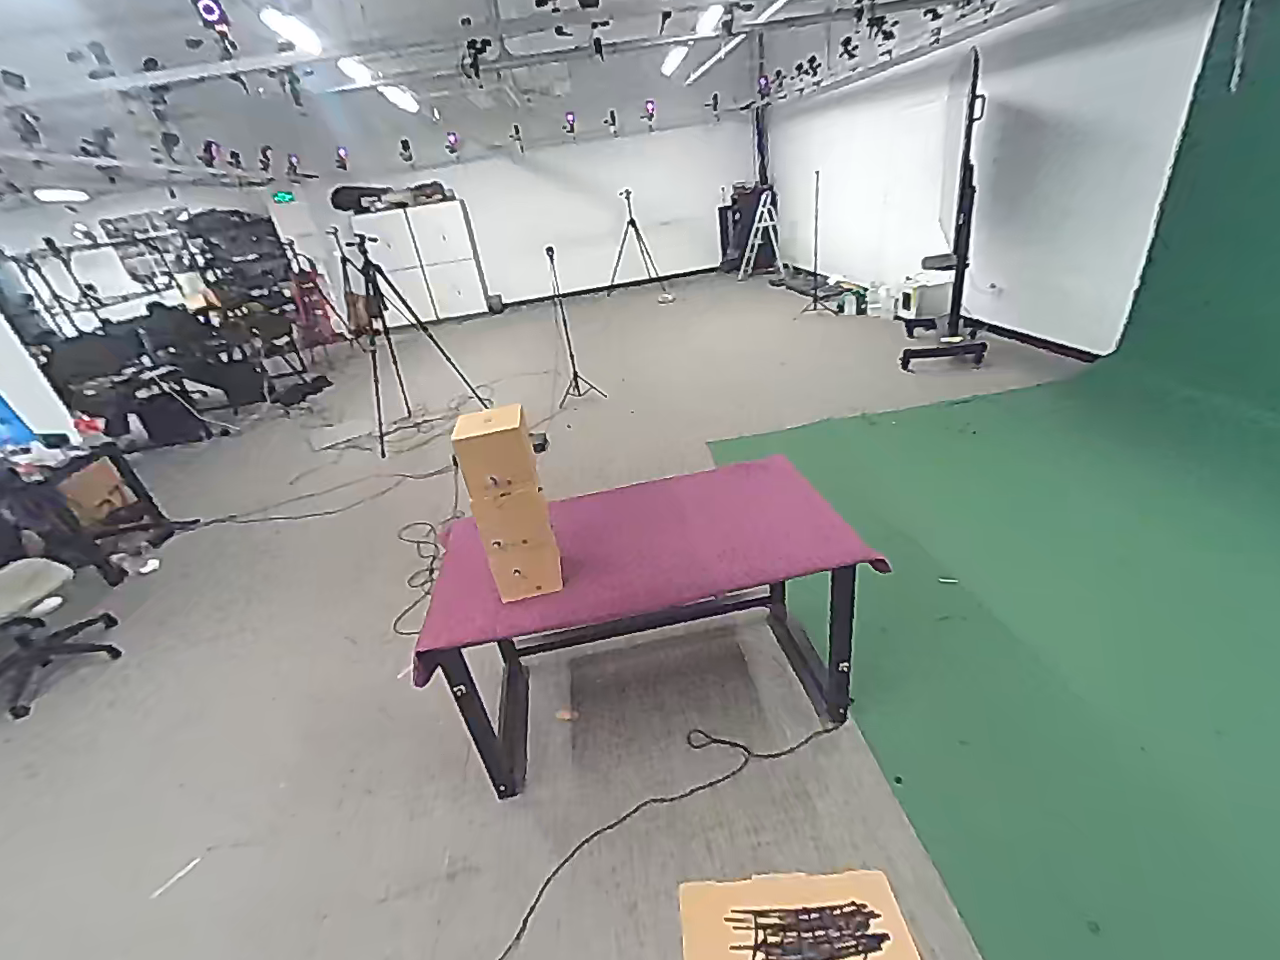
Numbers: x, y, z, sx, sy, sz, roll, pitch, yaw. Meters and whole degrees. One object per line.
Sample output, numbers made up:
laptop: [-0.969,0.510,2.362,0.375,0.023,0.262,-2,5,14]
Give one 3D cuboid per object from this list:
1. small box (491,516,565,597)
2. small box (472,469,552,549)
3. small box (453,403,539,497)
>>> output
small box: [-0.310,0.210,1.519,0.168,0.176,0.179,-13,28,-5]
small box: [-0.334,0.068,1.440,0.168,0.176,0.179,-12,27,-5]
small box: [-0.357,-0.078,1.370,0.168,0.176,0.179,-12,28,-4]
